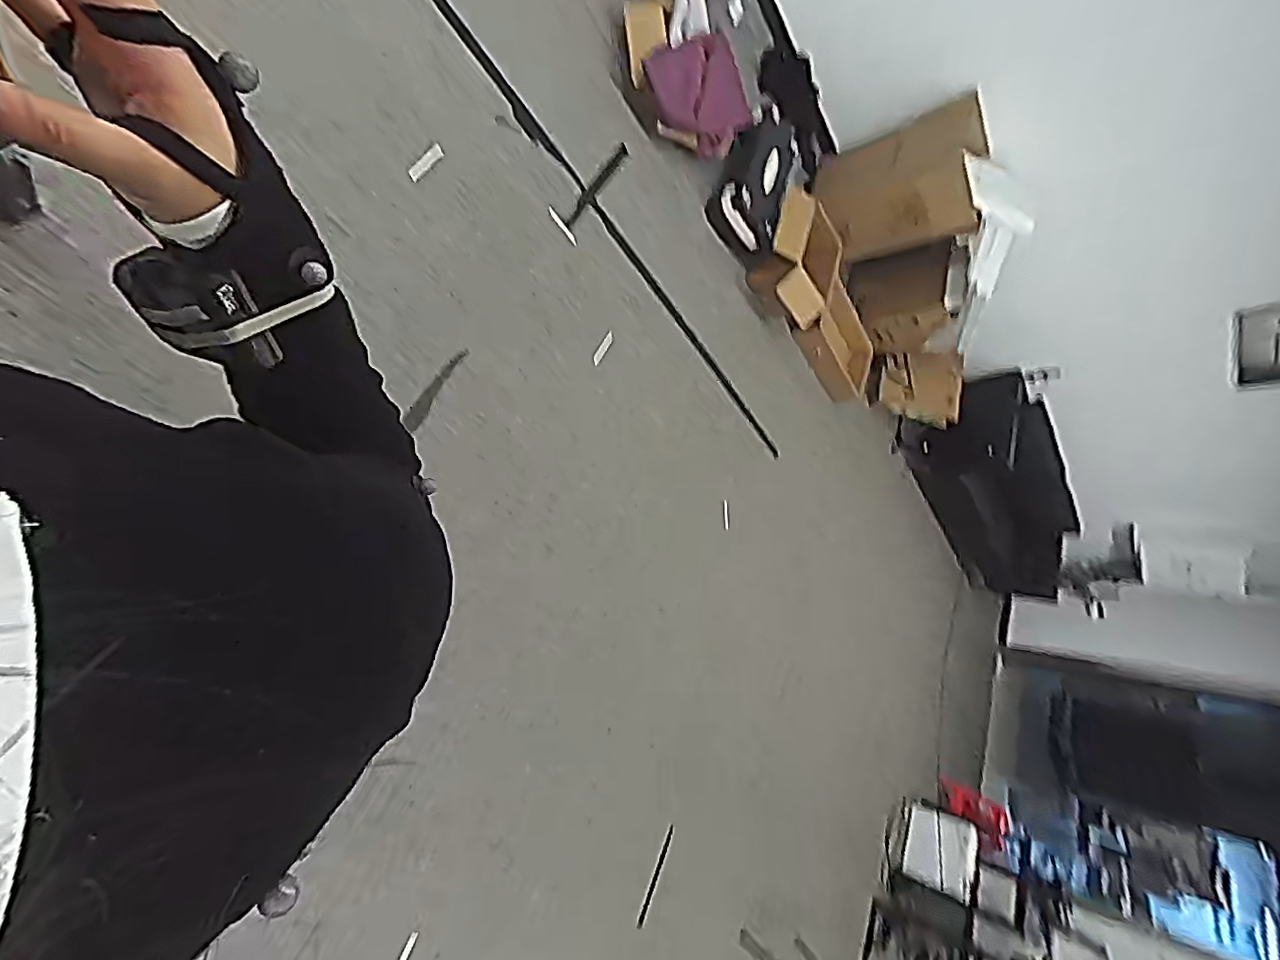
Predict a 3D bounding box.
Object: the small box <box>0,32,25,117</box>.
[{"bbox_3d":[-0.296,-0.195,0.120,0.168,0.176,0.179,-22,128,-36],"label":"small box"}]
